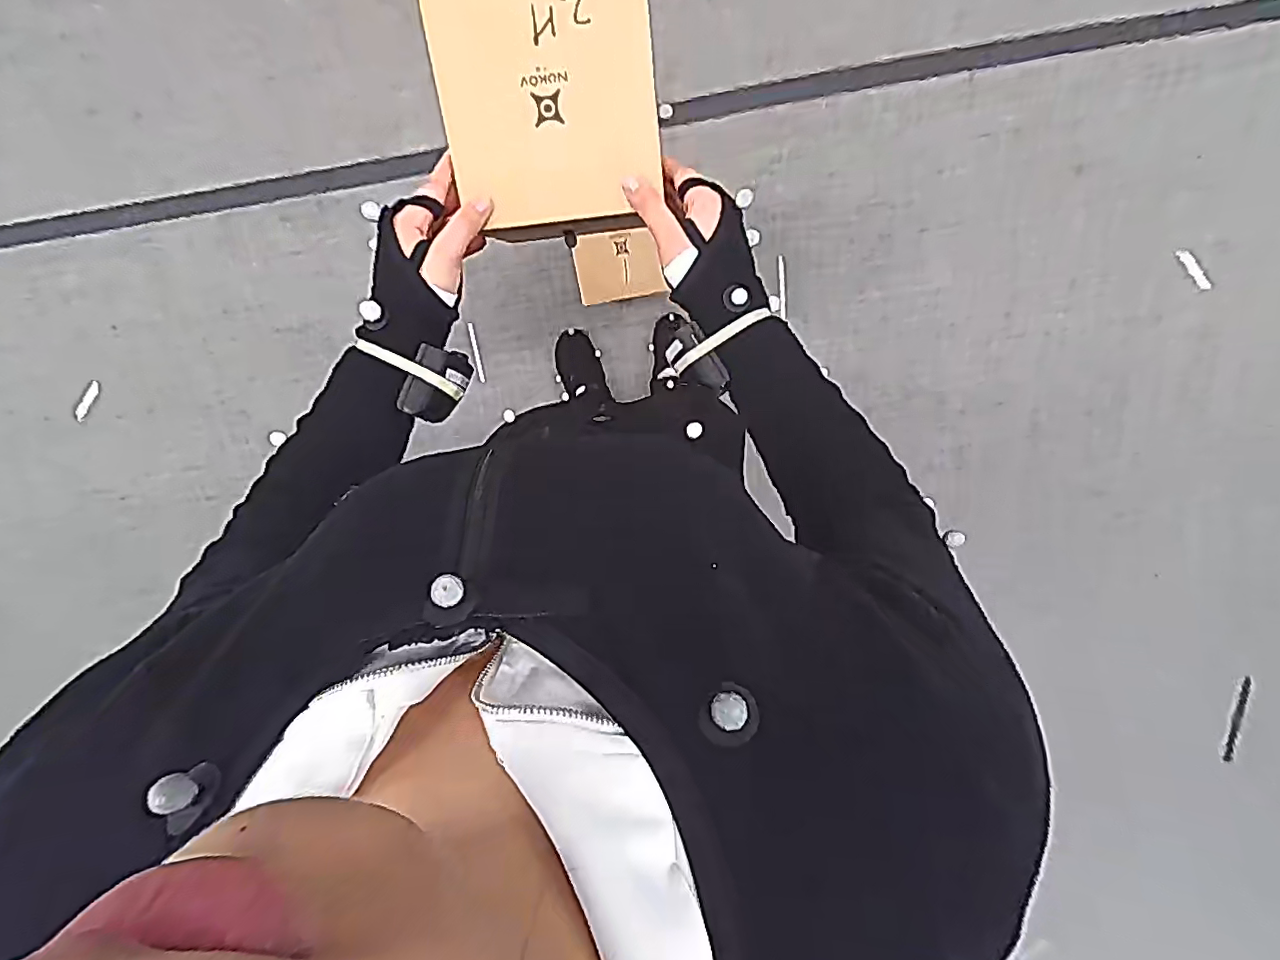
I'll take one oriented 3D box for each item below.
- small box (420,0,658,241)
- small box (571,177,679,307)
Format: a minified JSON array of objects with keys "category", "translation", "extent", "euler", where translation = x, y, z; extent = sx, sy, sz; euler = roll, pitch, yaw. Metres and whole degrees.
[{"category":"small box","translation":[-0.073,-0.321,0.491],"extent":[0.168,0.176,0.179],"euler":[-7,110,1]},{"category":"small box","translation":[-0.029,-0.407,0.952],"extent":[0.168,0.176,0.179],"euler":[-10,109,3]}]
